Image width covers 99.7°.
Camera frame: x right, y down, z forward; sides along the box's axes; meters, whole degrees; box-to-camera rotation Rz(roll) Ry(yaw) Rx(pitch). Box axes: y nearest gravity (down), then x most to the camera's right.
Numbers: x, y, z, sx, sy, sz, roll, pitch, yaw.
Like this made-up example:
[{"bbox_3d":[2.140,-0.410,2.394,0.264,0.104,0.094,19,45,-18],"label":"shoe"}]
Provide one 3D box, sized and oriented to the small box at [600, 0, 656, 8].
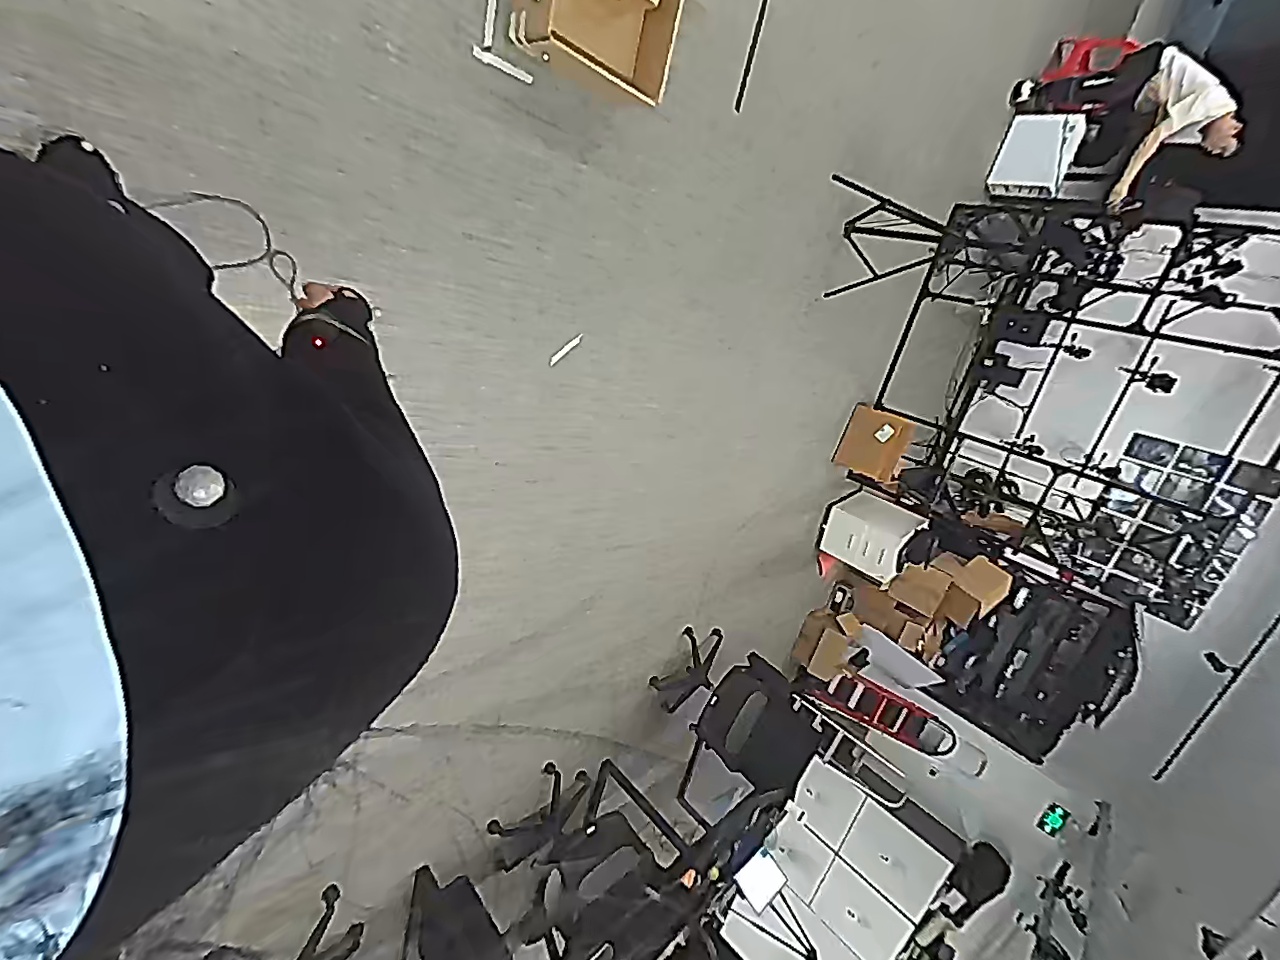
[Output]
[{"bbox_3d":[-0.055,-1.317,1.342,0.179,0.176,0.168,-7,119,-46],"label":"small box"}]
